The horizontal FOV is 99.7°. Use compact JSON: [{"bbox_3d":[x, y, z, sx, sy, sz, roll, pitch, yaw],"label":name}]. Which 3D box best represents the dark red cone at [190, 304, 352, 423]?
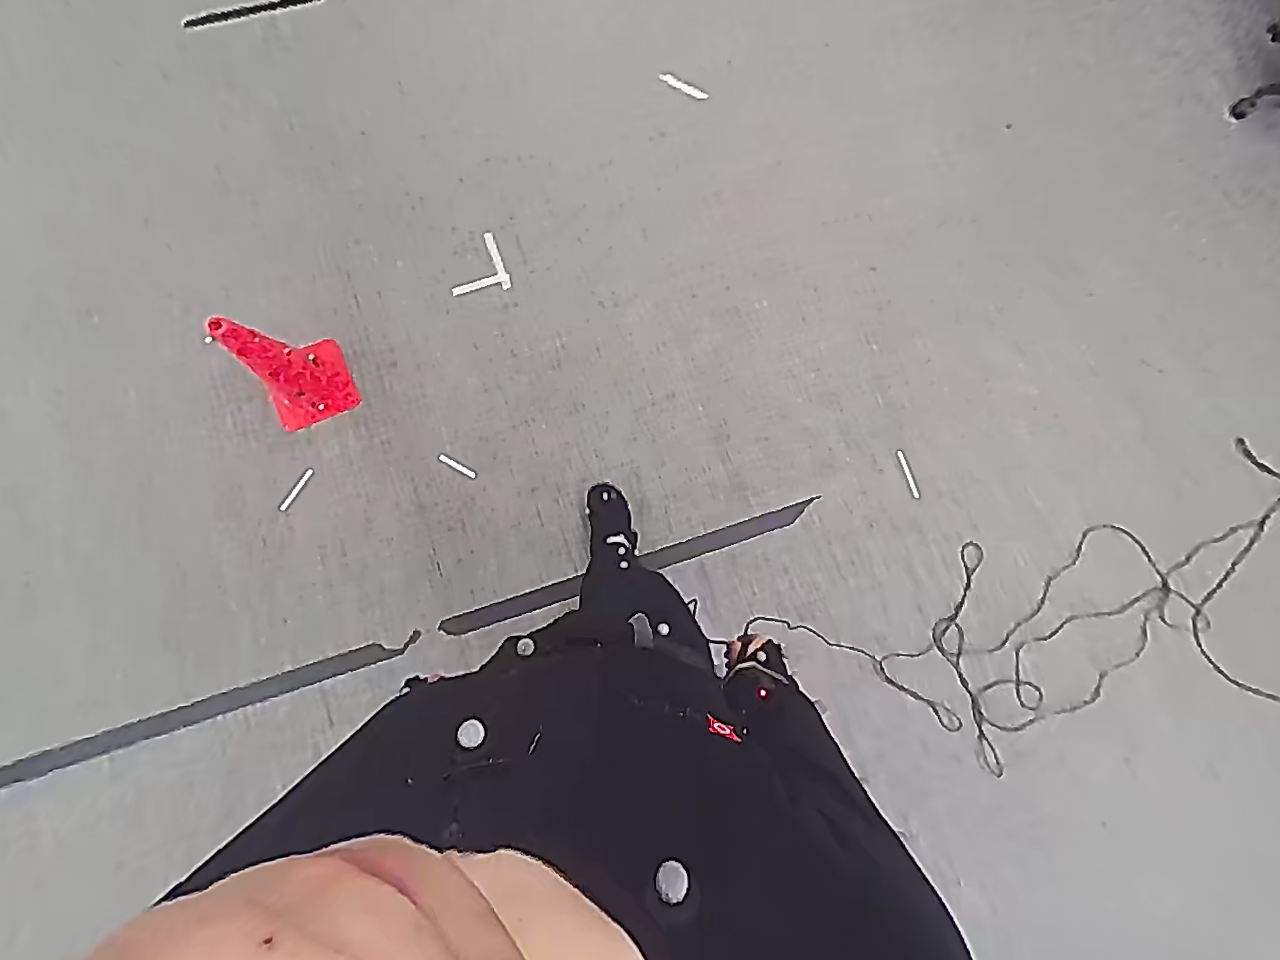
[{"bbox_3d":[-0.825,-0.279,1.178,0.202,0.394,0.201,-25,86,-8],"label":"dark red cone"}]
